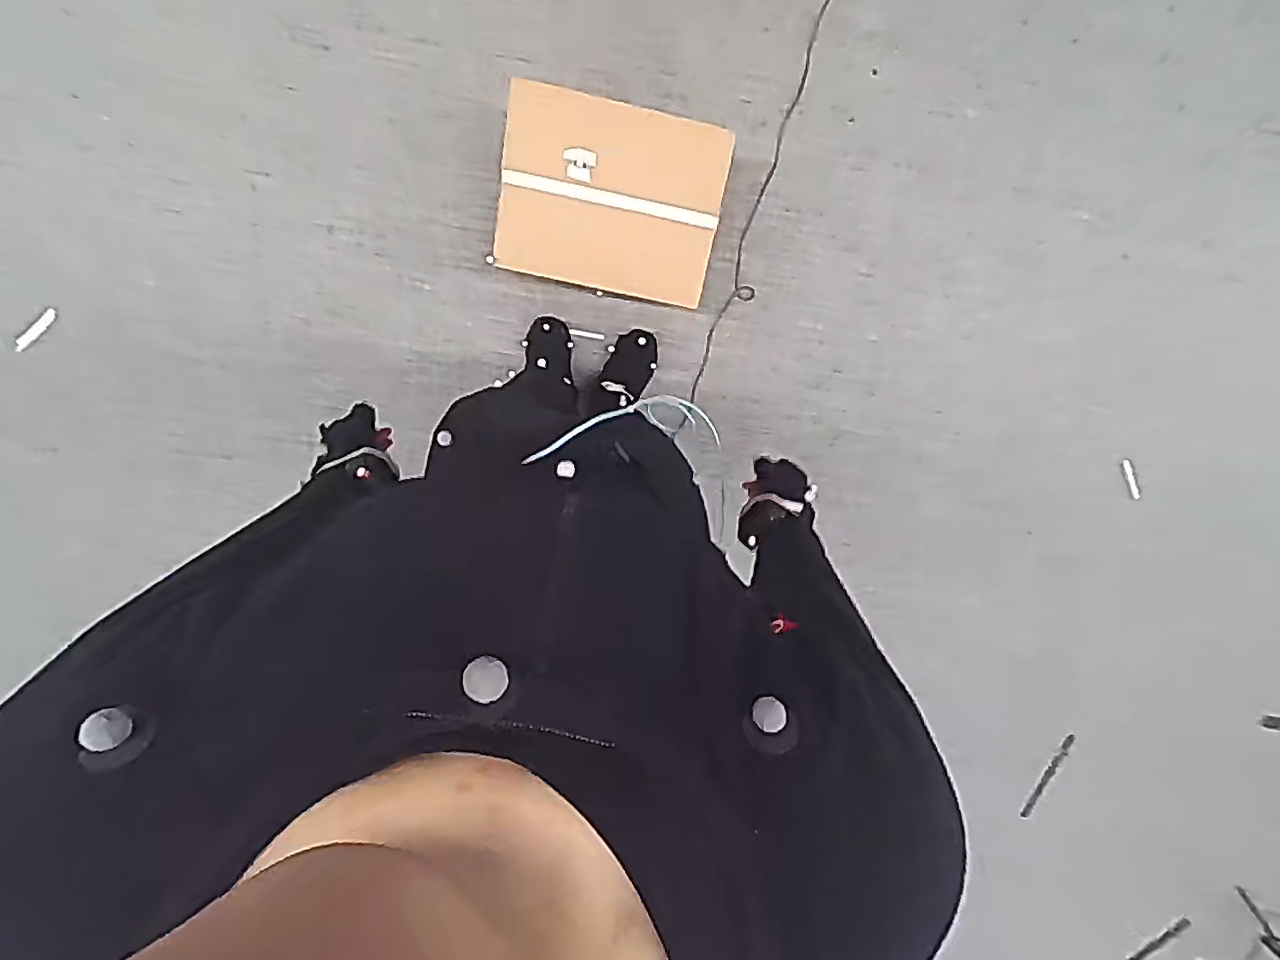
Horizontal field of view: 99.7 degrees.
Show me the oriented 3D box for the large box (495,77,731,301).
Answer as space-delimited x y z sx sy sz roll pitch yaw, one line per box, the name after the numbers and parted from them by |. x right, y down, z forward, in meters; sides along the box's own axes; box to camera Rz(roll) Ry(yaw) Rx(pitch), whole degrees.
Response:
-0.058 -0.578 1.140 0.408 0.320 0.320 11 110 -5 | large box
